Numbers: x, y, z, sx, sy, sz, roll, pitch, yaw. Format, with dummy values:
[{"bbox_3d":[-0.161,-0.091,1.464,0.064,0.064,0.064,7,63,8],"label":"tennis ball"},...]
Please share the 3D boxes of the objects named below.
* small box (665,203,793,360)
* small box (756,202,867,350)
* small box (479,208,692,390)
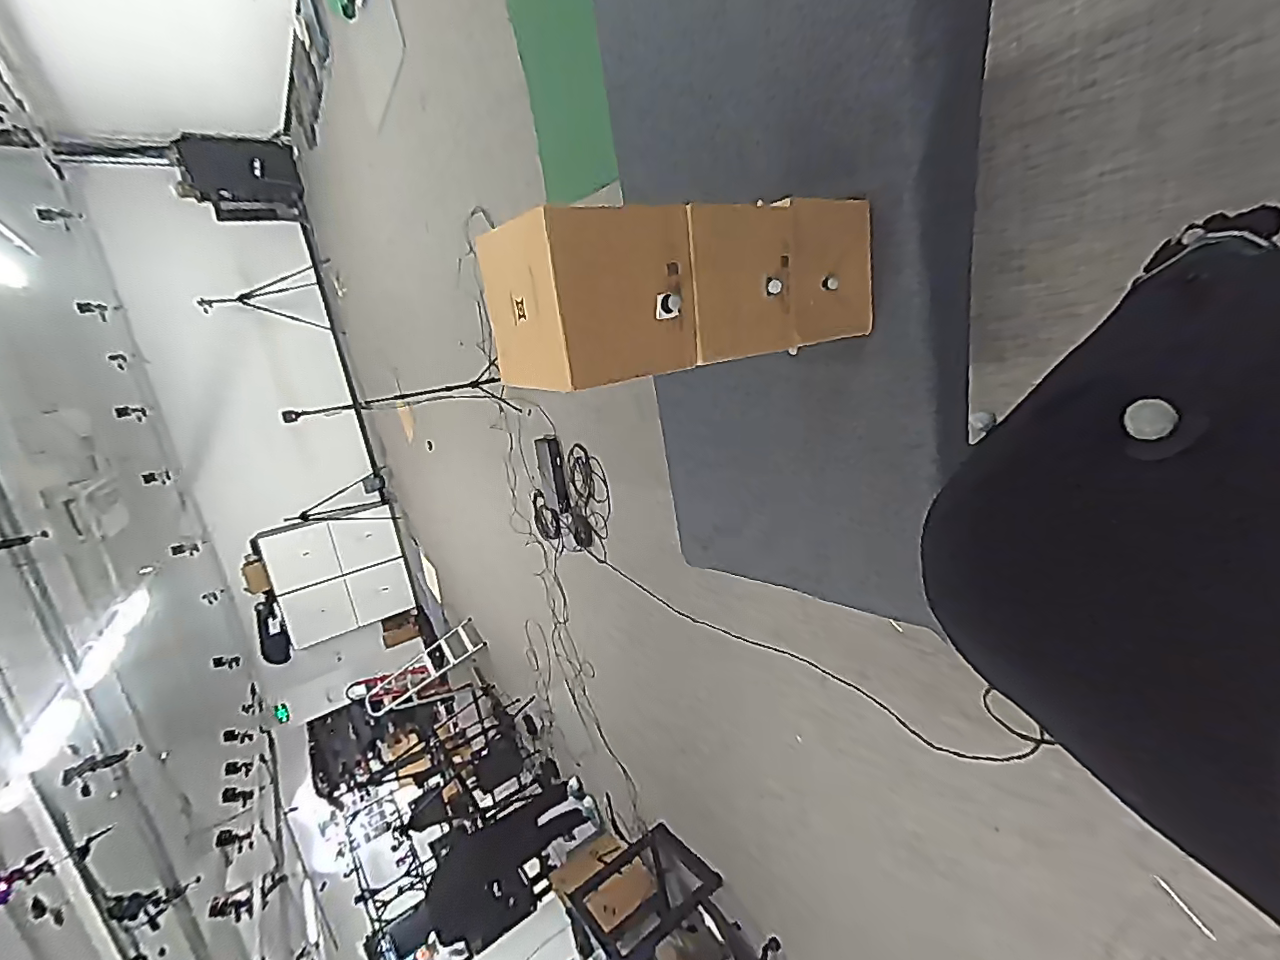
[{"bbox_3d":[0.073,-0.245,0.698,0.179,0.176,0.168,14,117,56],"label":"small box"},{"bbox_3d":[0.209,-0.288,0.781,0.168,0.176,0.179,13,116,54],"label":"small box"},{"bbox_3d":[-0.059,-0.202,0.615,0.179,0.176,0.168,16,120,52],"label":"small box"}]
